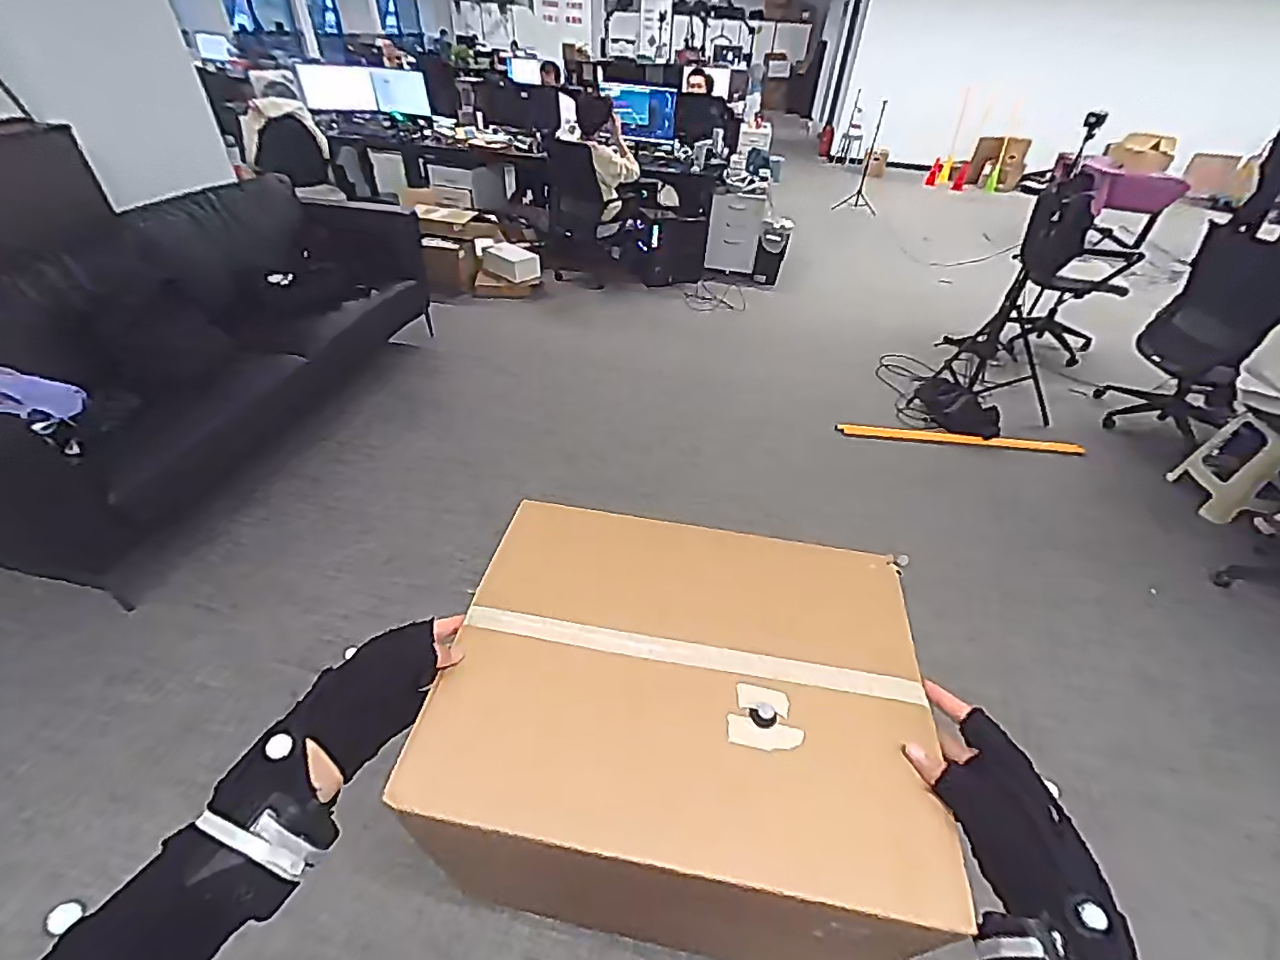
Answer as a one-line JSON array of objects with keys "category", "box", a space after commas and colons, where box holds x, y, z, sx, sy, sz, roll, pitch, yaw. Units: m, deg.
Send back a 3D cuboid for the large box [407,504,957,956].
[{"category": "large box", "box": [0.037, 0.262, 0.589, 0.408, 0.320, 0.320, 8, 44, 6]}]
